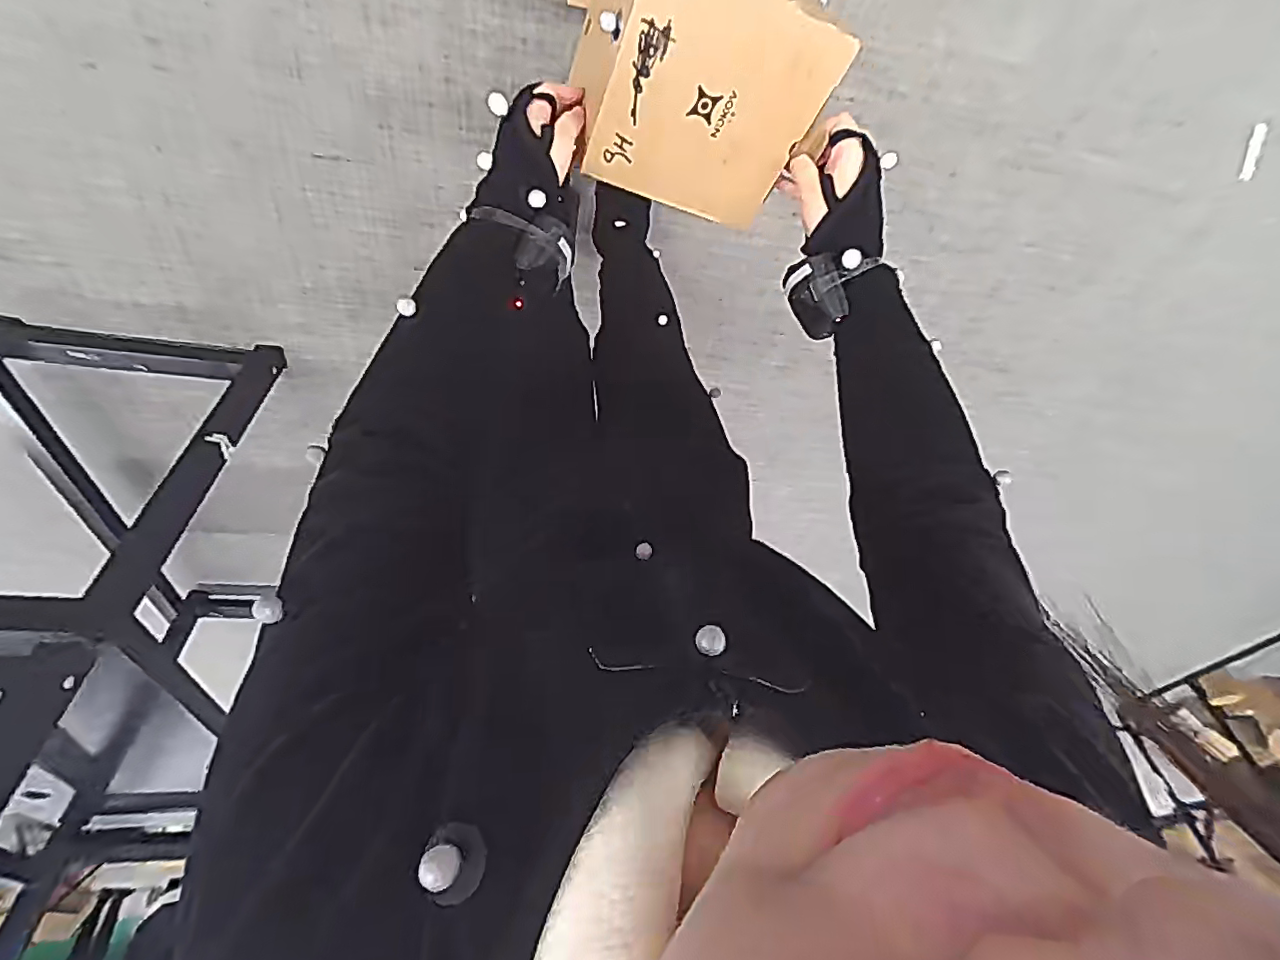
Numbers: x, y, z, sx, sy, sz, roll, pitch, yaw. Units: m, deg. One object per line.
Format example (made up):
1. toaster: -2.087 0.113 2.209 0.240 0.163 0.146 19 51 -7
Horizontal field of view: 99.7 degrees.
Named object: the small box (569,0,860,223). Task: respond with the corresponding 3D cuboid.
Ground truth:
1. small box: 0.048 -0.369 0.475 0.179 0.176 0.168 7 143 -24
